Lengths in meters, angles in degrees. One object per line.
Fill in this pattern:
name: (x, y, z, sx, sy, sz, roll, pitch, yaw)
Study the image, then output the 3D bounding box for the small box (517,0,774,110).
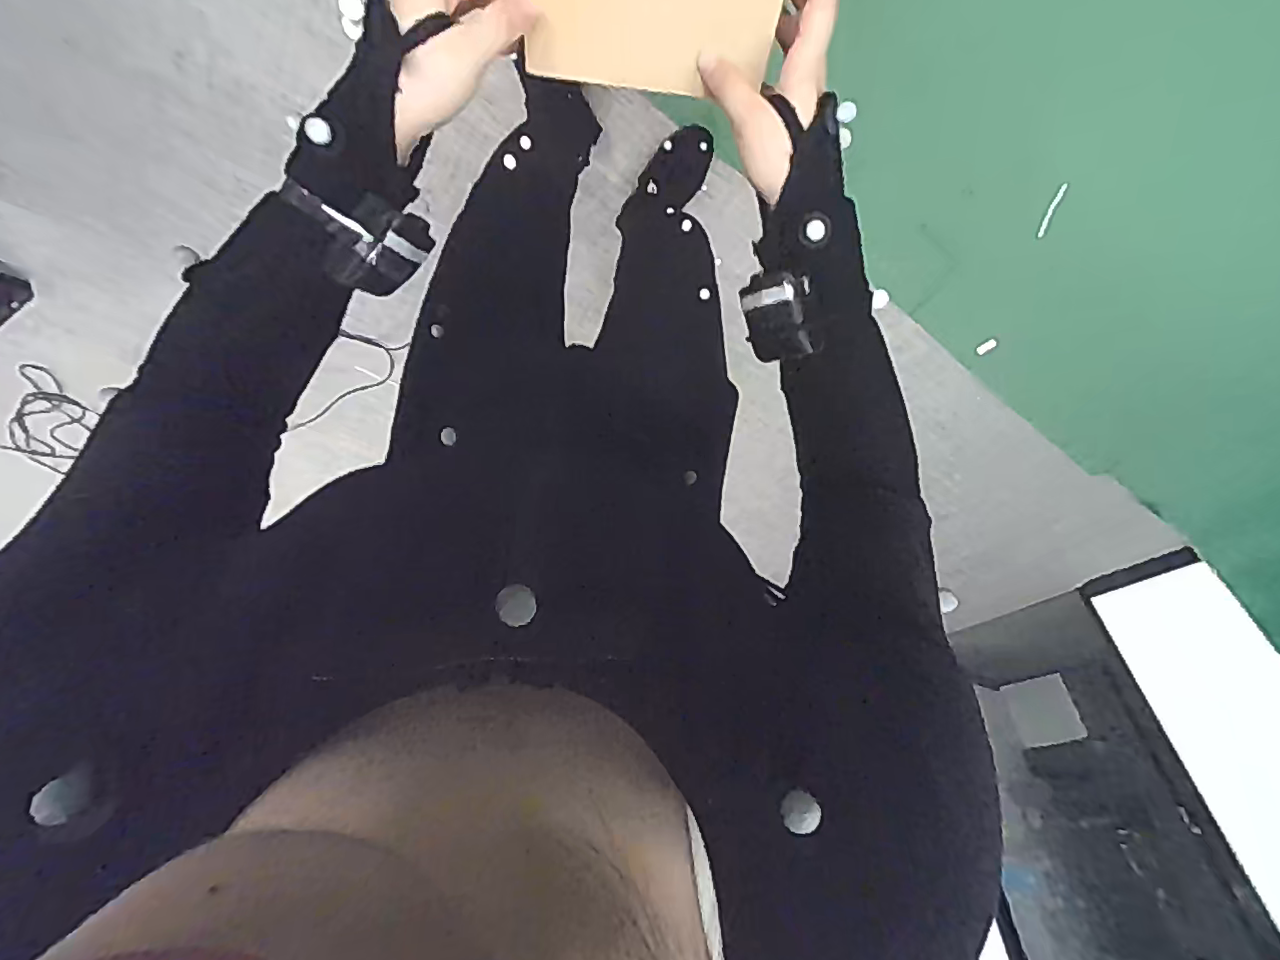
small box: (0.009, -0.389, 0.357, 0.168, 0.176, 0.179, 4, 147, -4)
